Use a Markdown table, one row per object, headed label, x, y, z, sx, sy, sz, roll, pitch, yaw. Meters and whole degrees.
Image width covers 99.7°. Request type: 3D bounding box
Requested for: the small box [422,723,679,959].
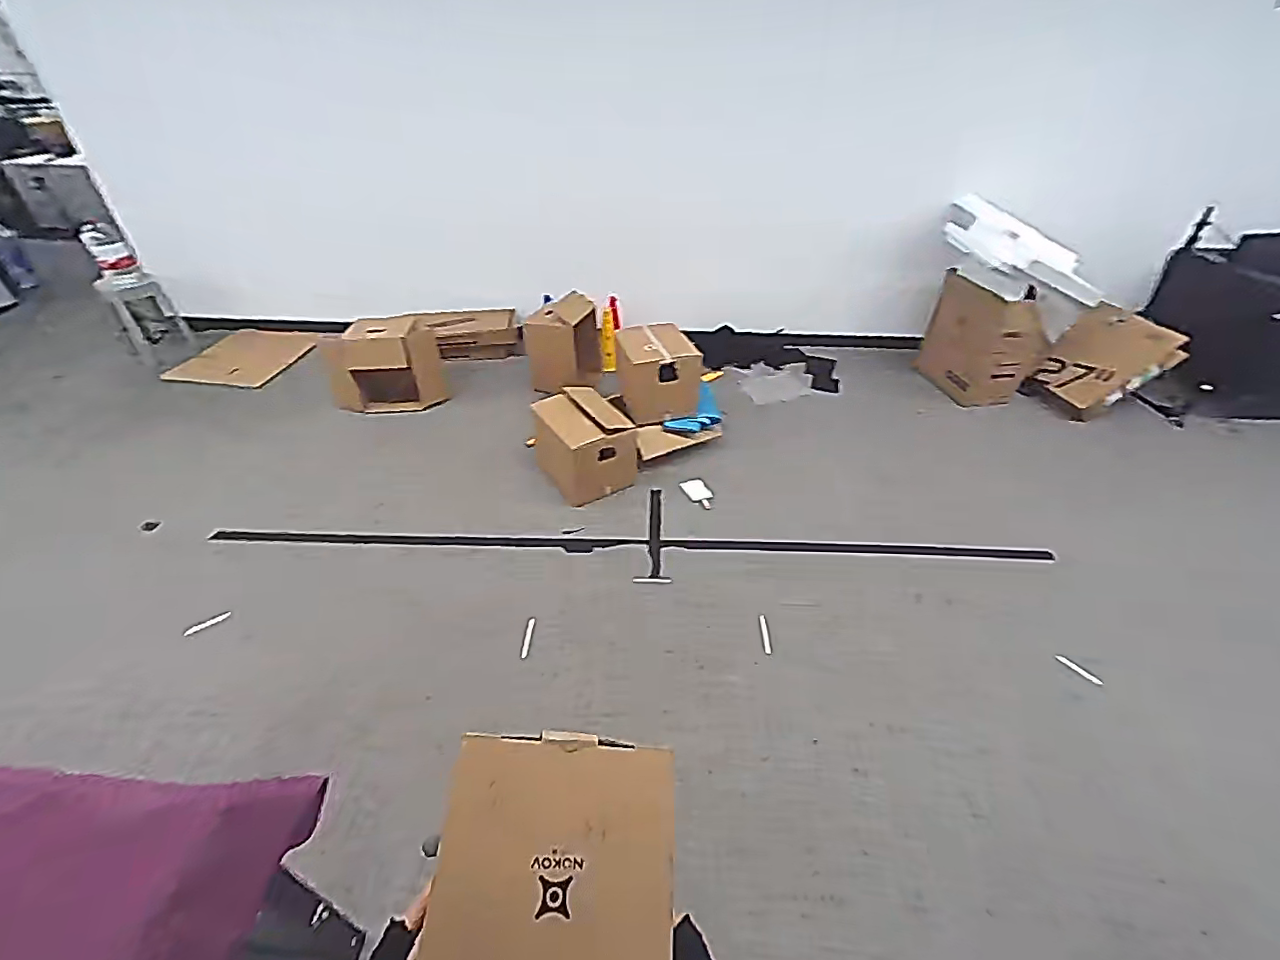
| label | x | y | z | sx | sy | sz | roll | pitch | yaw |
| --- | --- | --- | --- | --- | --- | --- | --- | --- | --- |
| small box | -0.073 | 0.308 | 0.432 | 0.168 | 0.176 | 0.179 | 10 | 55 | -11 |
